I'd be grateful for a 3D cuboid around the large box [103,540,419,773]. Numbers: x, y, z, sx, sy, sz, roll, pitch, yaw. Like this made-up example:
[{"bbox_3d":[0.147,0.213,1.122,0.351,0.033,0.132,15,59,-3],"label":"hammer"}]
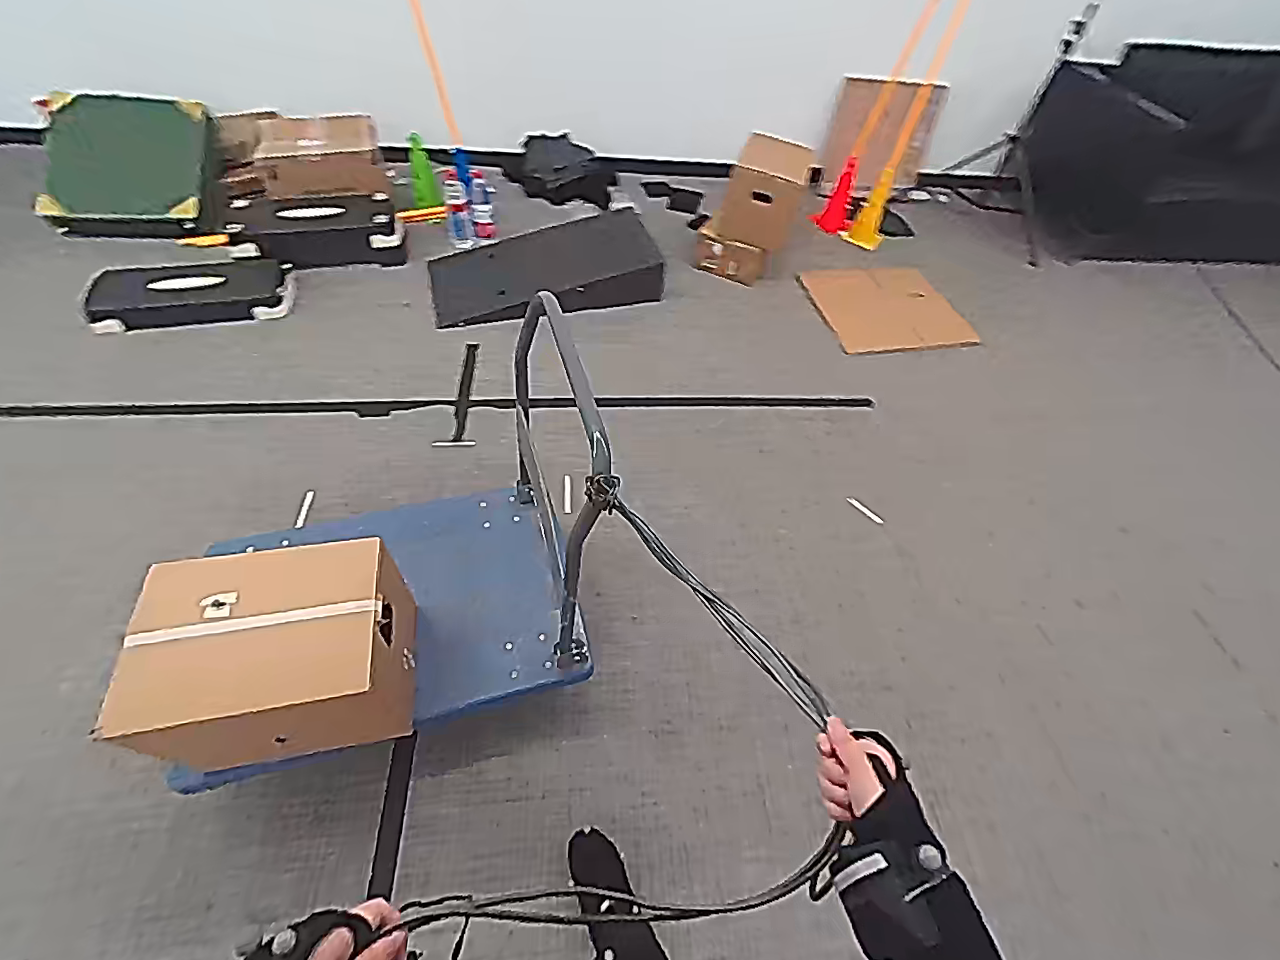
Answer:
[{"bbox_3d":[-0.685,0.353,1.078,0.408,0.320,0.320,-7,53,-11],"label":"large box"}]
